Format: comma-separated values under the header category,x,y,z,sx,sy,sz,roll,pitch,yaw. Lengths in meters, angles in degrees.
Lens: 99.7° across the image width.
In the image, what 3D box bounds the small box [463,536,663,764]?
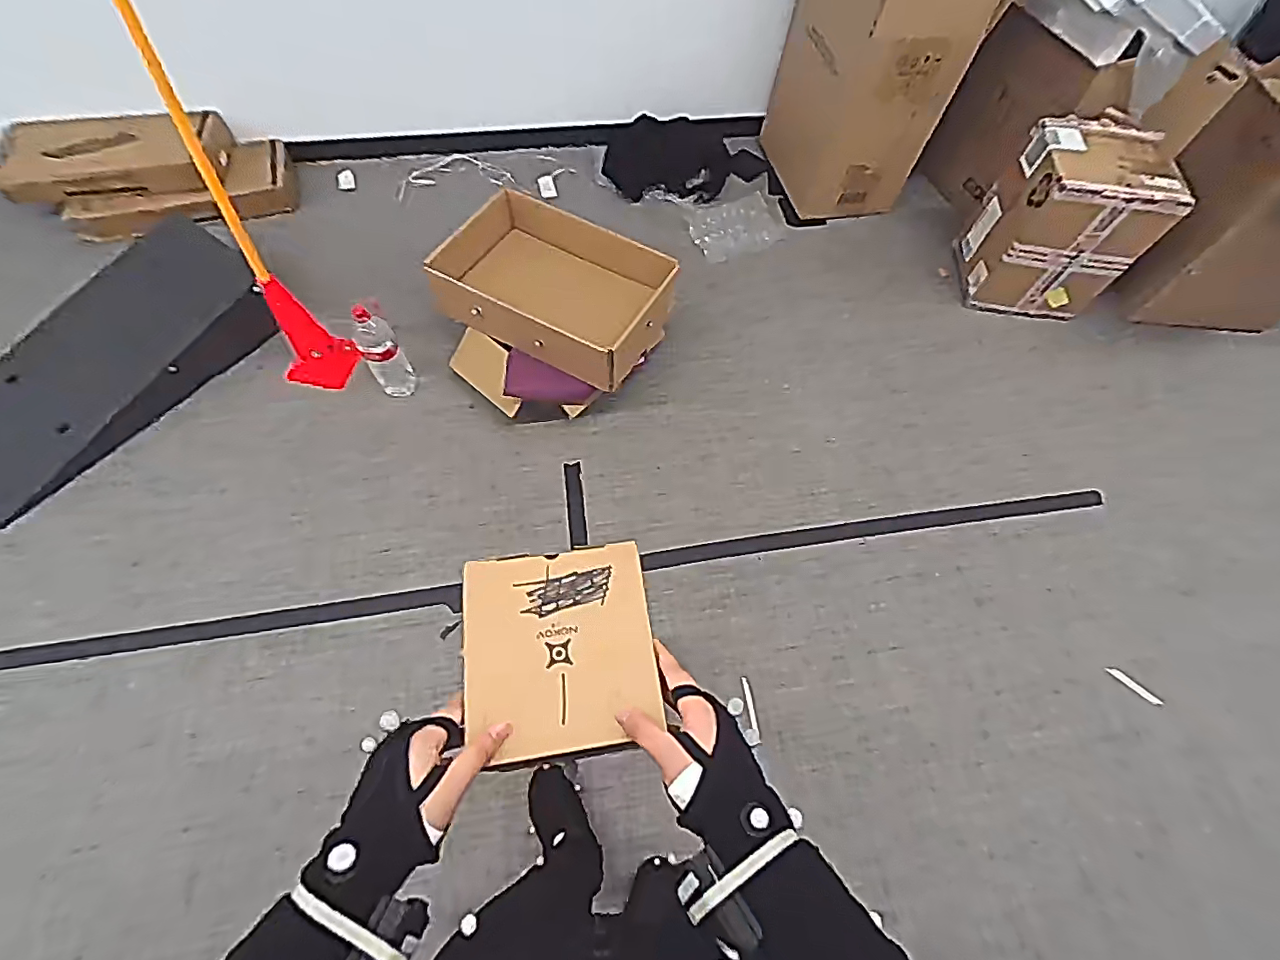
category,x,y,z,sx,sy,sz,roll,pitch,yaw
small box,-0.078,0.177,0.549,0.168,0.176,0.179,-7,62,-7
